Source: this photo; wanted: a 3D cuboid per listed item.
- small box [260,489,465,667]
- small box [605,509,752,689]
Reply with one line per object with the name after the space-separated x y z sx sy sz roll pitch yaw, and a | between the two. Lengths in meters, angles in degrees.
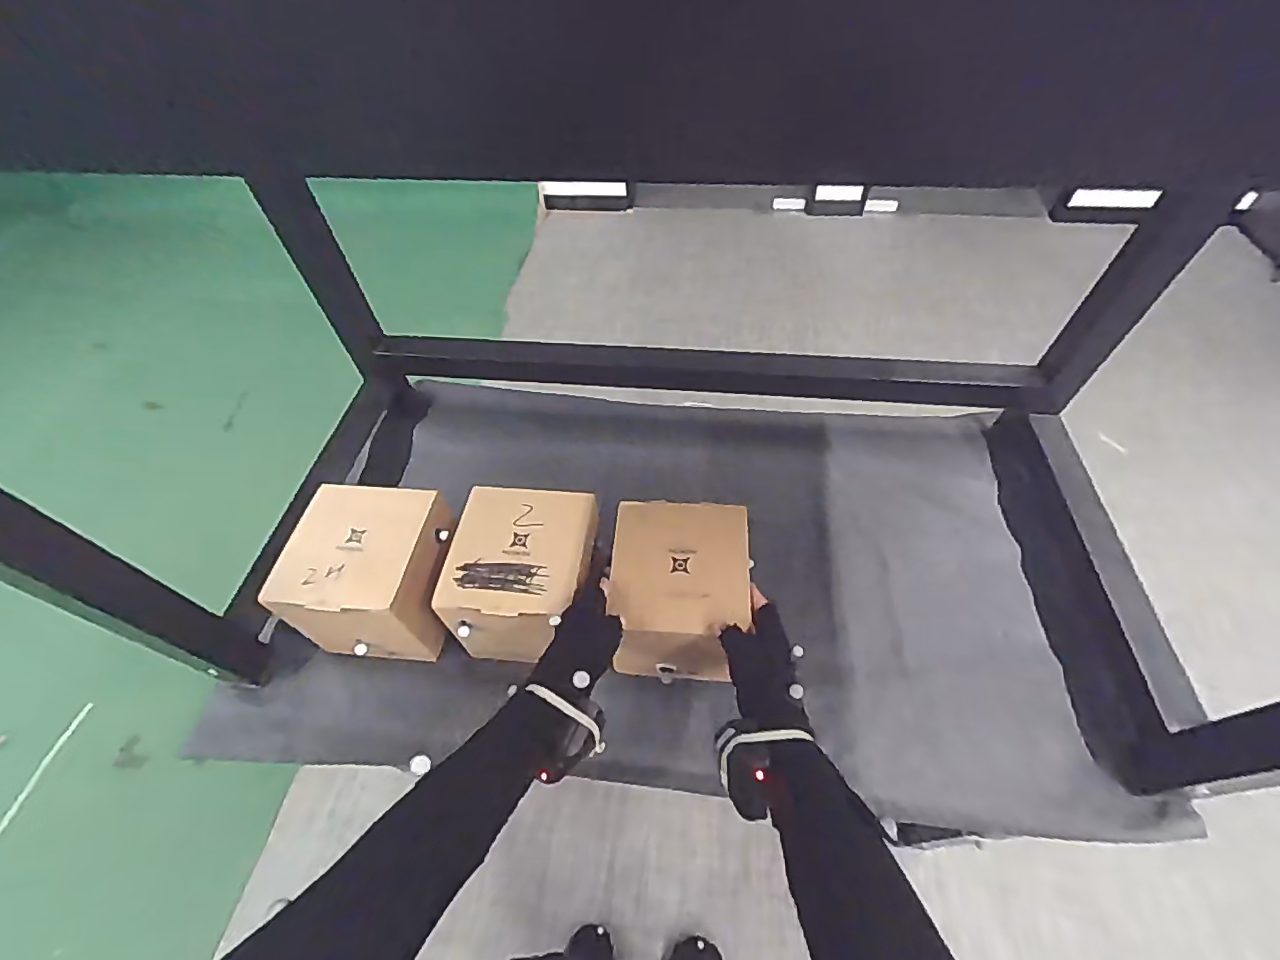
-0.354 0.134 0.736 0.168 0.176 0.179 3 52 5 | small box
0.051 0.156 0.708 0.168 0.176 0.179 1 53 5 | small box
